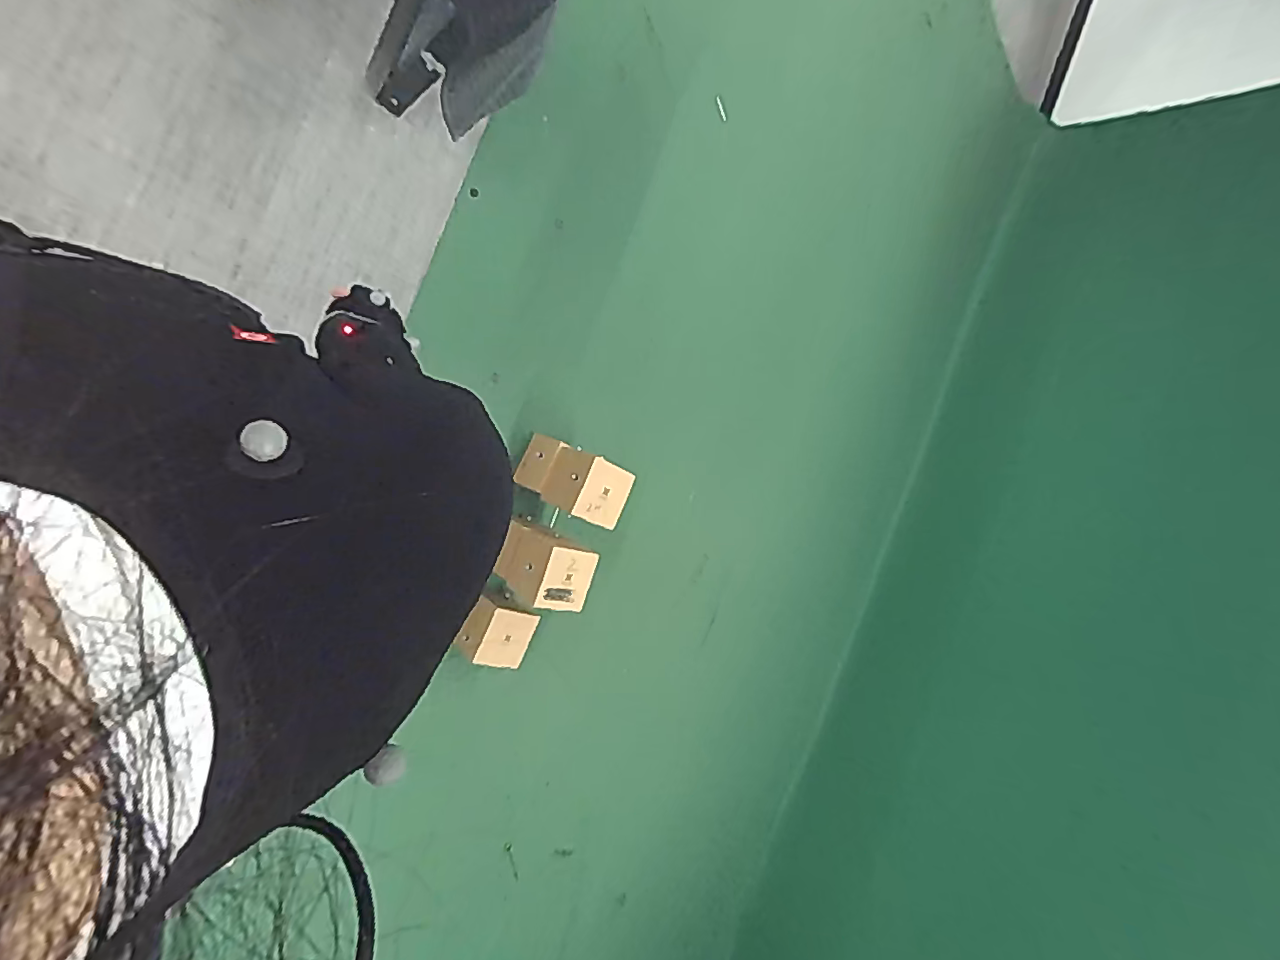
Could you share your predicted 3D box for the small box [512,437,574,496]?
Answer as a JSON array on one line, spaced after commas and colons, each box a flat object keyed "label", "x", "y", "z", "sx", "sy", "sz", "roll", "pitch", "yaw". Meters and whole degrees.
[{"label": "small box", "x": -0.266, "y": -0.024, "z": 1.679, "sx": 0.179, "sy": 0.176, "sz": 0.168, "roll": 29, "pitch": 83, "yaw": -42}]

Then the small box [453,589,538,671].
[{"label": "small box", "x": -0.450, "y": 0.459, "z": 1.662, "sx": 0.168, "sy": 0.176, "sz": 0.179, "roll": 28, "pitch": 83, "yaw": -42}]

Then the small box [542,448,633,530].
[{"label": "small box", "x": -0.157, "y": 0.023, "z": 1.564, "sx": 0.168, "sy": 0.176, "sz": 0.179, "roll": 28, "pitch": 84, "yaw": -42}]
